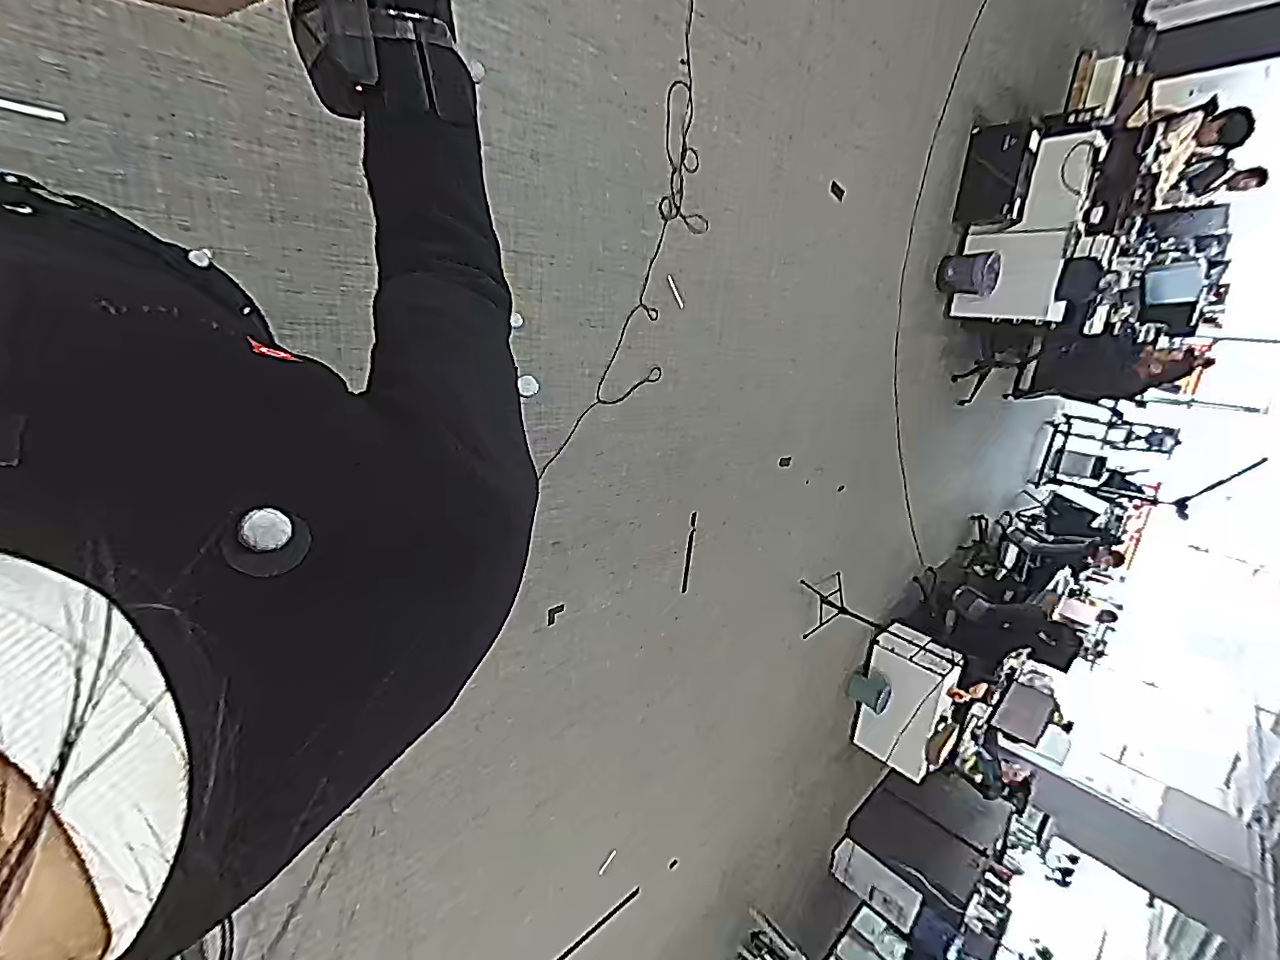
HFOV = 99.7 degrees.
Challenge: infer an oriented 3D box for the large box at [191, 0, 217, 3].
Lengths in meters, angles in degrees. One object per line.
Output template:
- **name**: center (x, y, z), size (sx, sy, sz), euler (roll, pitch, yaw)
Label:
- **large box**: center (-0.423, -0.449, 0.212), size (0.408, 0.320, 0.320), euler (-20, 131, -39)
